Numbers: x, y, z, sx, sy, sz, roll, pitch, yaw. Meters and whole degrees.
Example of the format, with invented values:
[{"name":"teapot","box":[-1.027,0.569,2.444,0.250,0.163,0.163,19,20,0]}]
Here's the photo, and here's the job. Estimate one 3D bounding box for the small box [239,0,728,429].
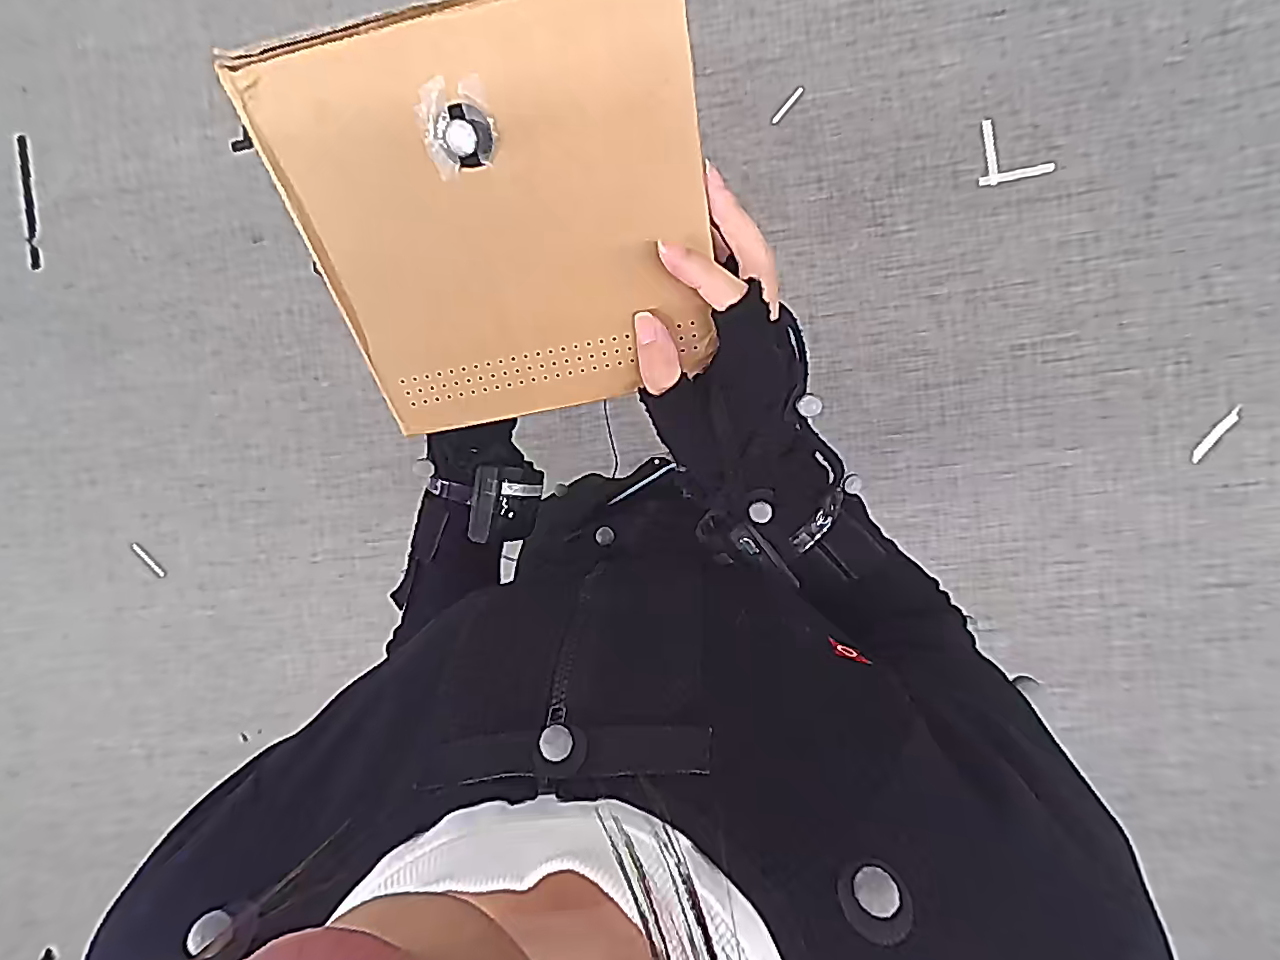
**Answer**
[{"name":"small box","box":[-0.055,-0.145,0.306,0.179,0.168,0.176,-10,126,5]}]
